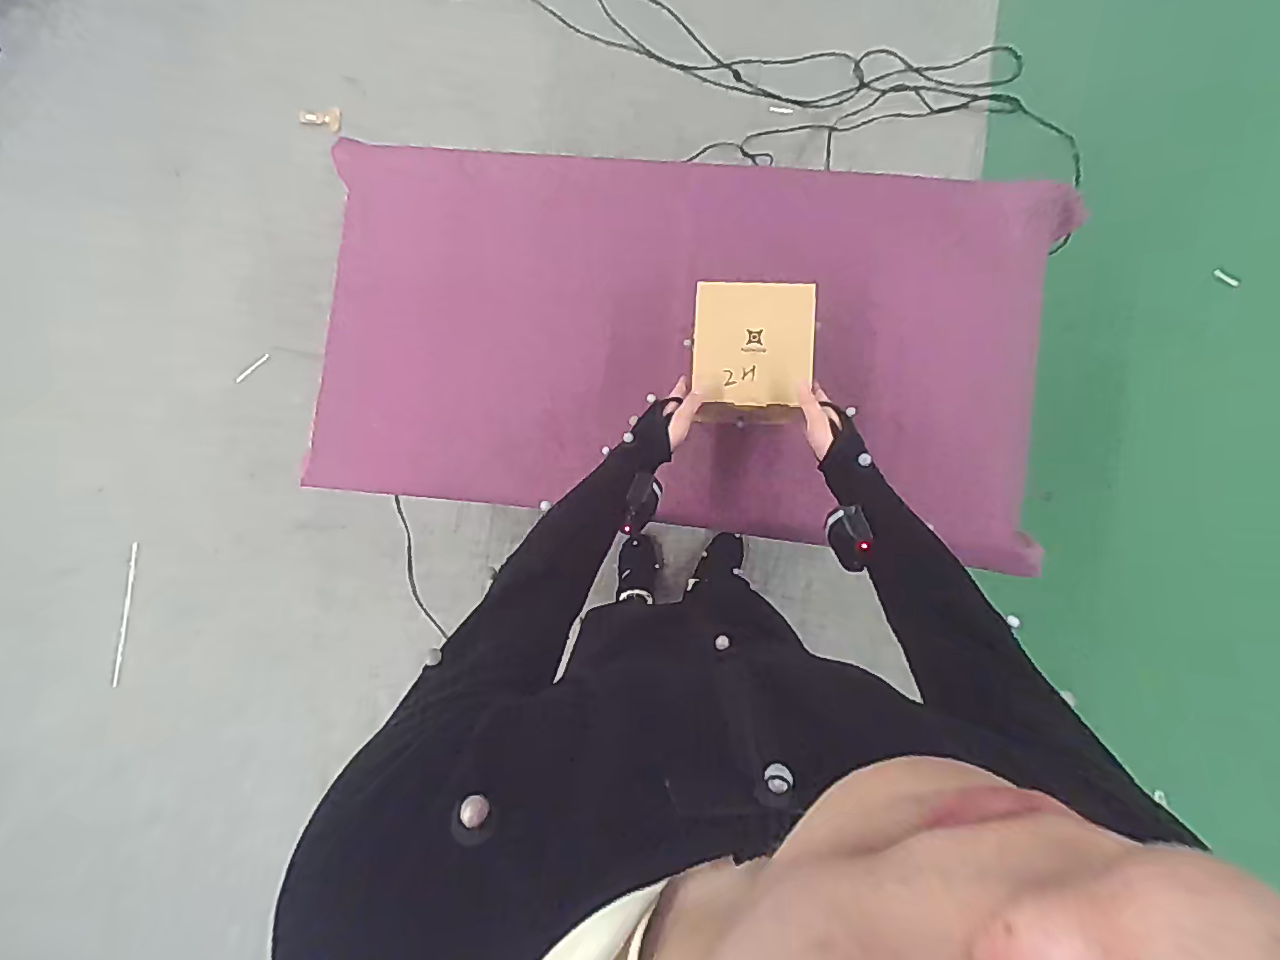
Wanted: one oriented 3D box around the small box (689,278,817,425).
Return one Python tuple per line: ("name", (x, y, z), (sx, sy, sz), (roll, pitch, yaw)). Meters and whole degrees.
("small box", (0.163, -0.187, 0.824), (0.168, 0.176, 0.179), (3, 88, 5))
